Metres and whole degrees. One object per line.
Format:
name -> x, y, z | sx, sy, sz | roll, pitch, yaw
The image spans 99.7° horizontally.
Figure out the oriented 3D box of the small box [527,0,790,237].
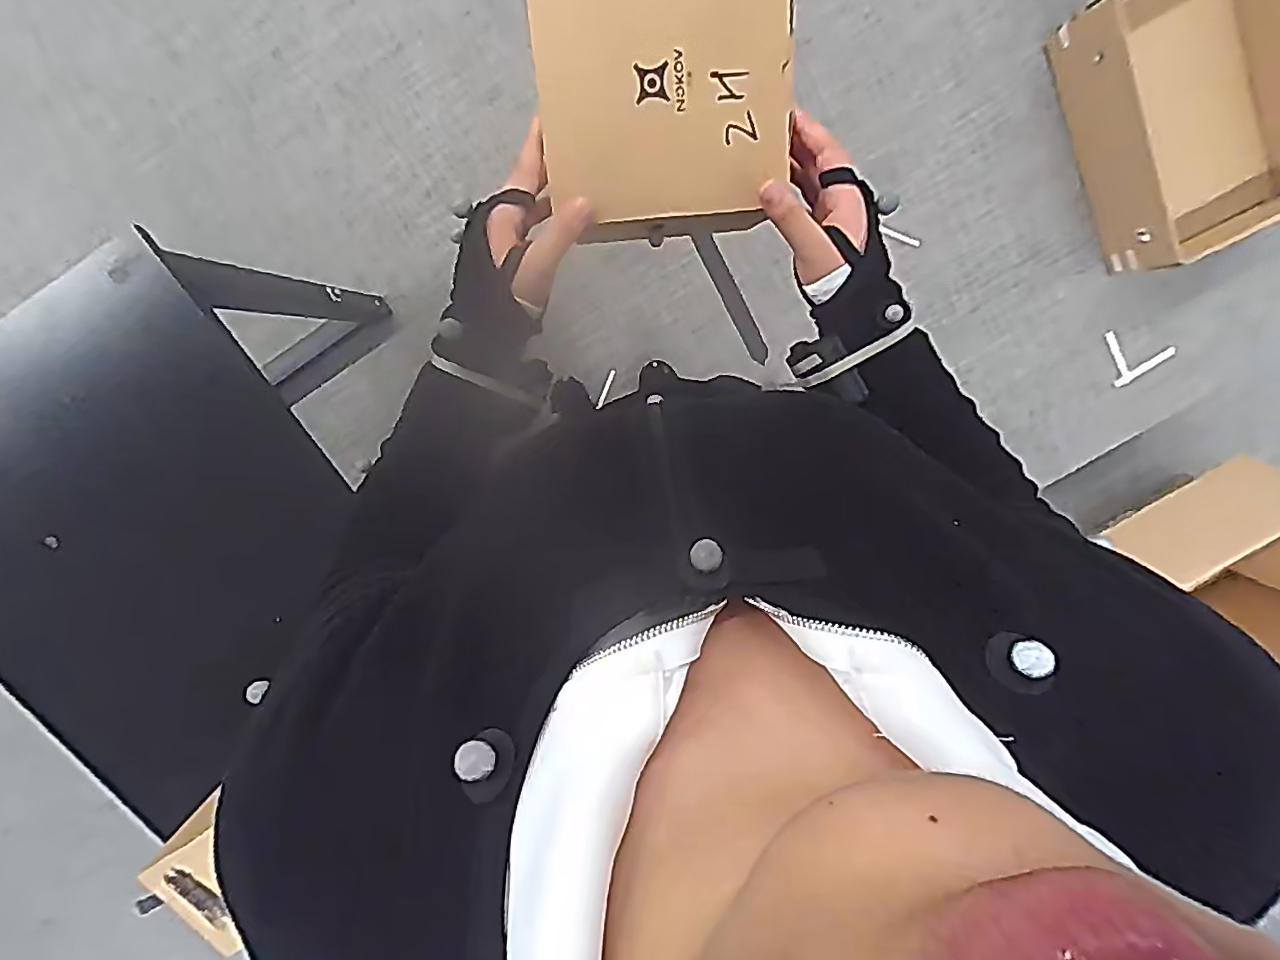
small box -> 0.016, -0.302, 0.447 | 0.179, 0.176, 0.168 | -5, 110, 1
